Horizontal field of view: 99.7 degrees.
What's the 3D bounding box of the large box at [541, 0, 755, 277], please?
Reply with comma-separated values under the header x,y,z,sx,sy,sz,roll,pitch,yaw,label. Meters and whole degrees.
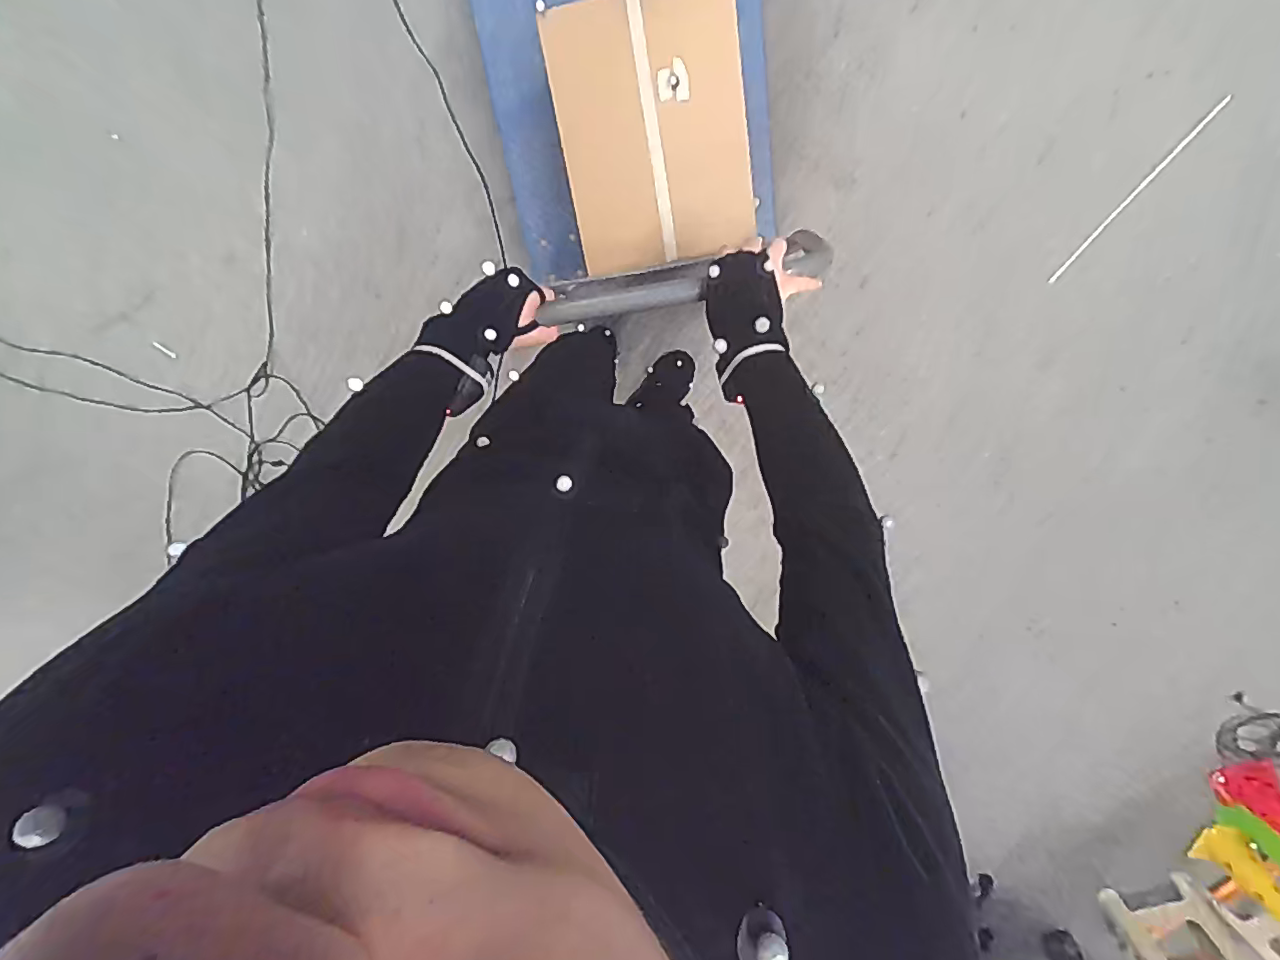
x,y,z,sx,sy,sz,roll,pitch,yaw,label
0.036,-0.643,1.069,0.320,0.320,0.408,-8,111,8,large box
